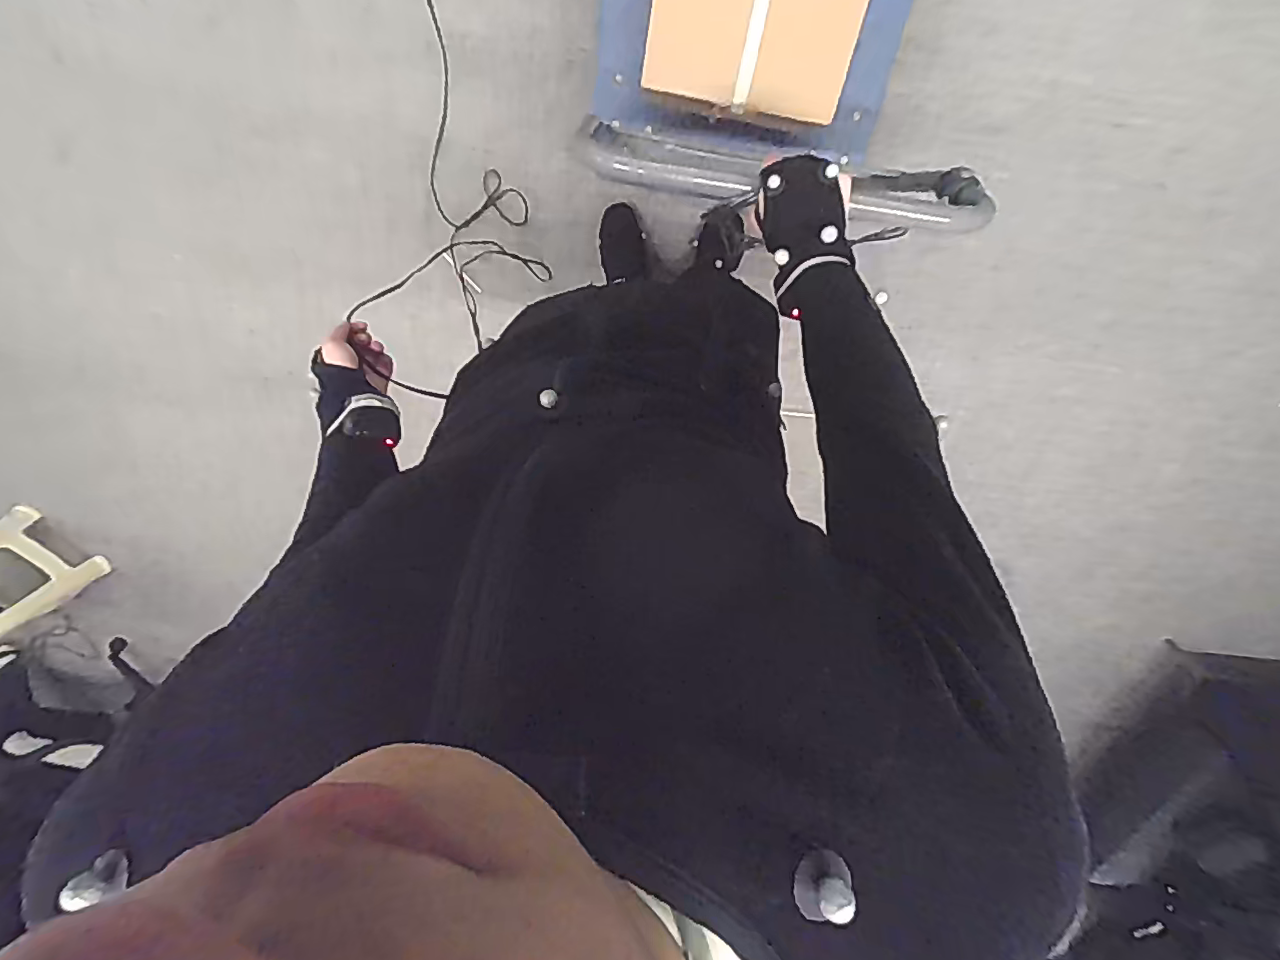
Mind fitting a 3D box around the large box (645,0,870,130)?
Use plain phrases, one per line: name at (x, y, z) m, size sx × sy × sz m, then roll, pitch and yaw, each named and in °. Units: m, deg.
large box at (0.195, -0.833, 0.874) m, size 0.320 × 0.320 × 0.408 m, roll 10°, pitch 121°, yaw -4°
